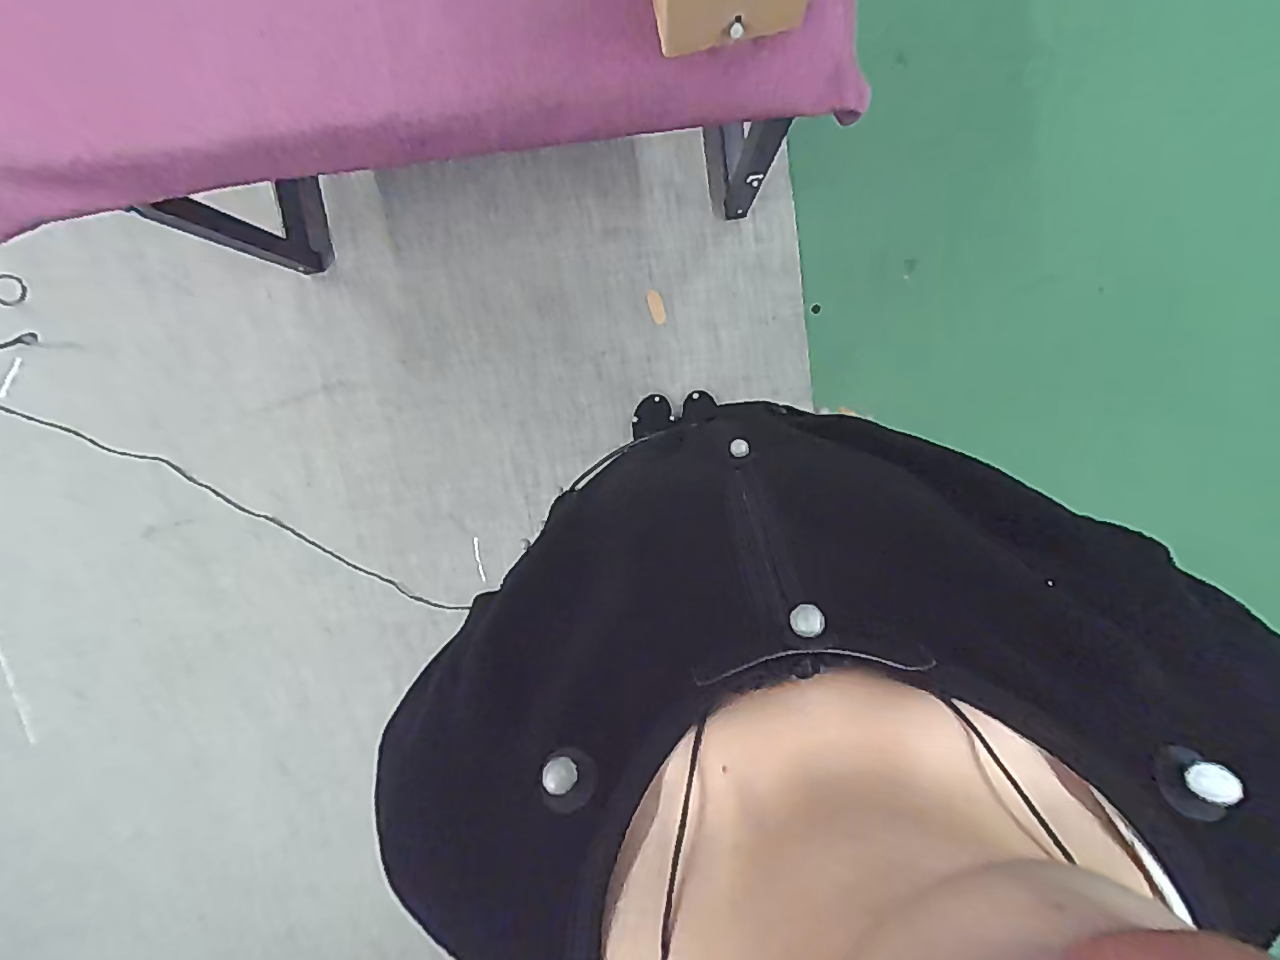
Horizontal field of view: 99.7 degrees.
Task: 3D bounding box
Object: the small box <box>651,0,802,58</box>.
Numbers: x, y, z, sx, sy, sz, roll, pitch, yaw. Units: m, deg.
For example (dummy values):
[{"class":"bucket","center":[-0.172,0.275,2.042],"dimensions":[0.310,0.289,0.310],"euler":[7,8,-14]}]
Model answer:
[{"class":"small box","center":[0.096,-0.619,0.597],"dimensions":[0.179,0.176,0.168],"euler":[-11,98,4]}]
